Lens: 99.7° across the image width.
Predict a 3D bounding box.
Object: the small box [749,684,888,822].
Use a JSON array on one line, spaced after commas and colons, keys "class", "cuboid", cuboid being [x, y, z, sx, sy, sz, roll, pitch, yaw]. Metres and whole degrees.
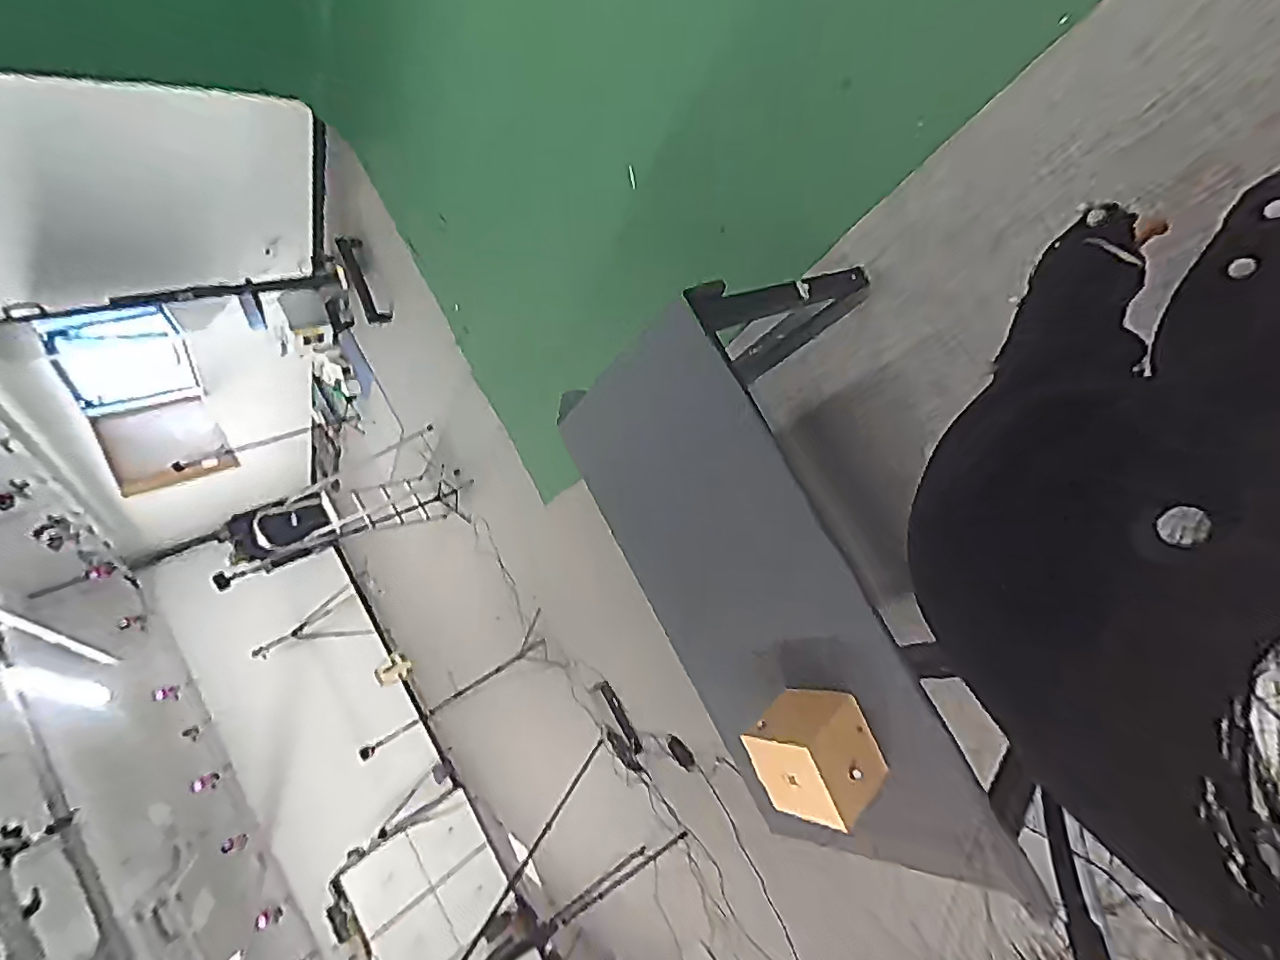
[{"class": "small box", "cuboid": [0.355, 0.519, 1.057, 0.179, 0.176, 0.168, -27, 89, 55]}]
